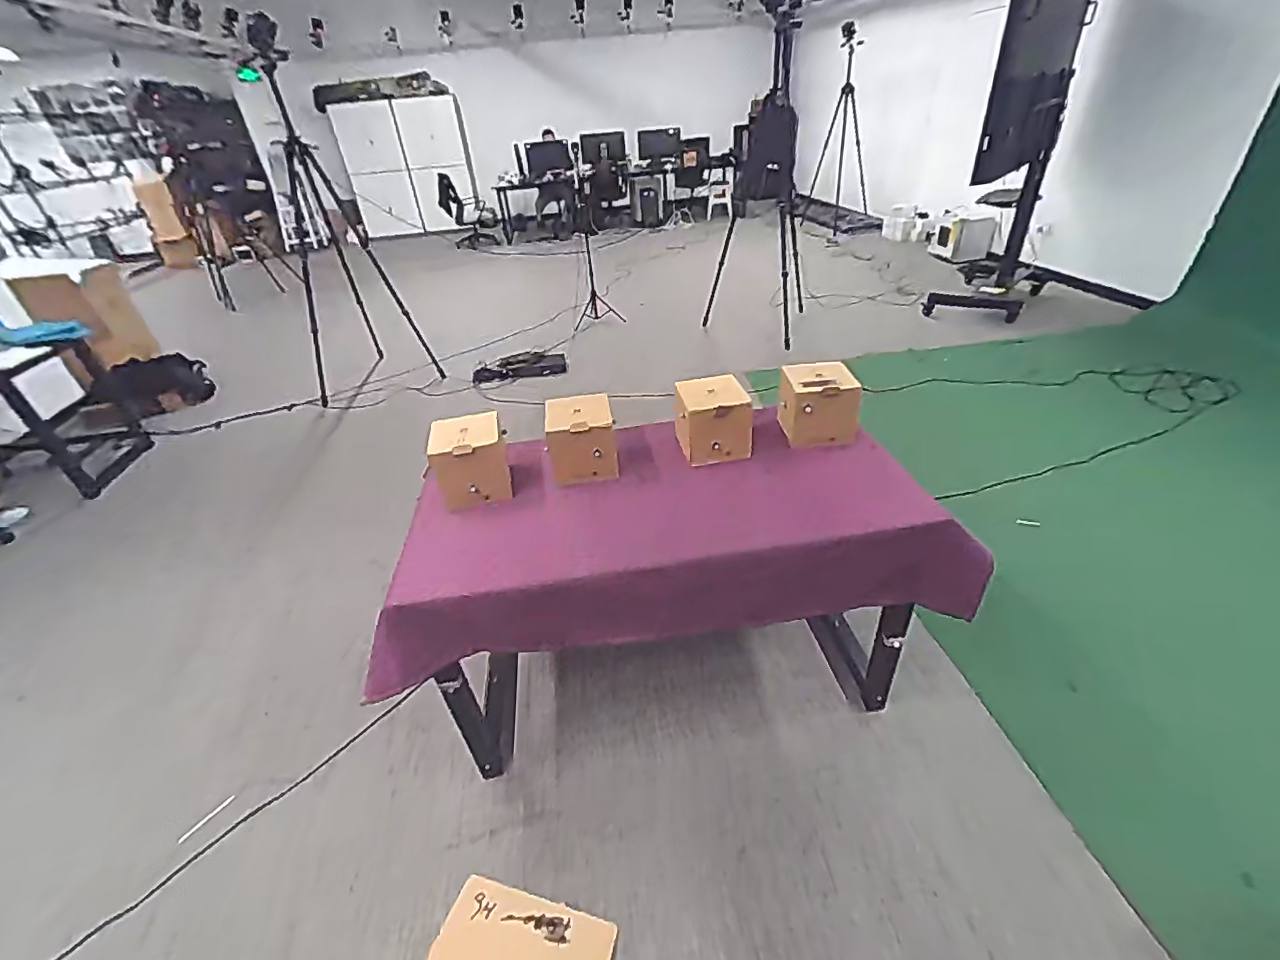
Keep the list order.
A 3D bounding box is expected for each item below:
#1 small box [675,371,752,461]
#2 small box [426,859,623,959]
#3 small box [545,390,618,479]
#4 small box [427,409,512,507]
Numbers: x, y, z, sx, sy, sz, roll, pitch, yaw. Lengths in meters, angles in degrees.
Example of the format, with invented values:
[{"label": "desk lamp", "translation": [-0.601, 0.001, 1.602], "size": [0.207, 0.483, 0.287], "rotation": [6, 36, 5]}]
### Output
[{"label": "small box", "translation": [0.190, -0.172, 1.445], "size": [0.168, 0.176, 0.179], "rotation": [-10, 36, -5]}, {"label": "small box", "translation": [-0.119, 0.520, 0.513], "size": [0.168, 0.176, 0.179], "rotation": [10, 24, 13]}, {"label": "small box", "translation": [-0.152, -0.114, 1.413], "size": [0.168, 0.176, 0.179], "rotation": [-7, 35, -4]}, {"label": "small box", "translation": [-0.424, -0.056, 1.369], "size": [0.168, 0.176, 0.179], "rotation": [-12, 36, -8]}]
